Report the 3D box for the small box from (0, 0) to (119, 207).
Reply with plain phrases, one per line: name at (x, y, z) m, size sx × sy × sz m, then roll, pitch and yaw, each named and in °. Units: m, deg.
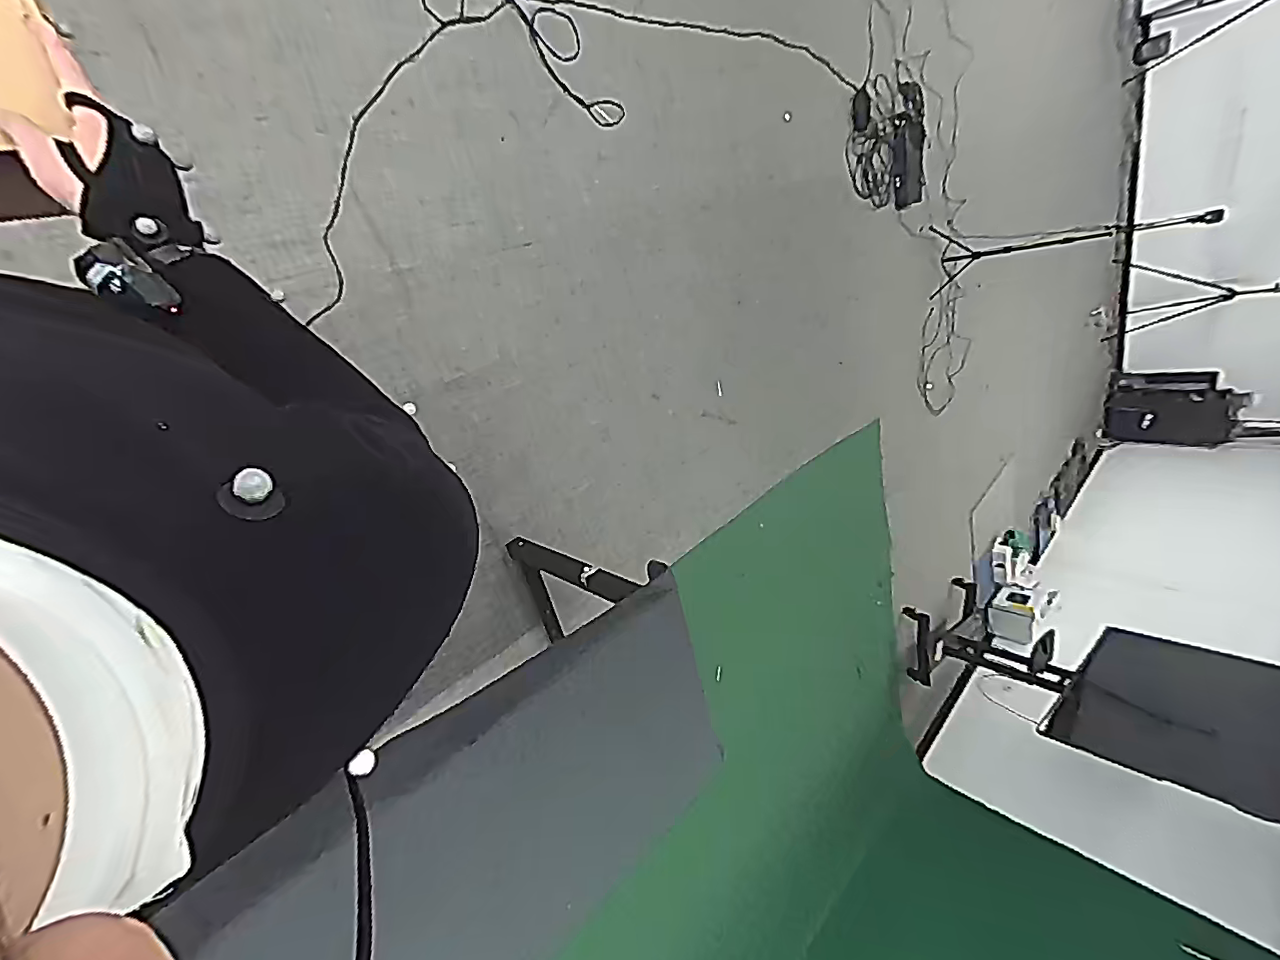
small box at (-0.556, -0.326, 0.420) m, size 0.179 × 0.176 × 0.168 m, roll -22°, pitch 106°, yaw -28°
